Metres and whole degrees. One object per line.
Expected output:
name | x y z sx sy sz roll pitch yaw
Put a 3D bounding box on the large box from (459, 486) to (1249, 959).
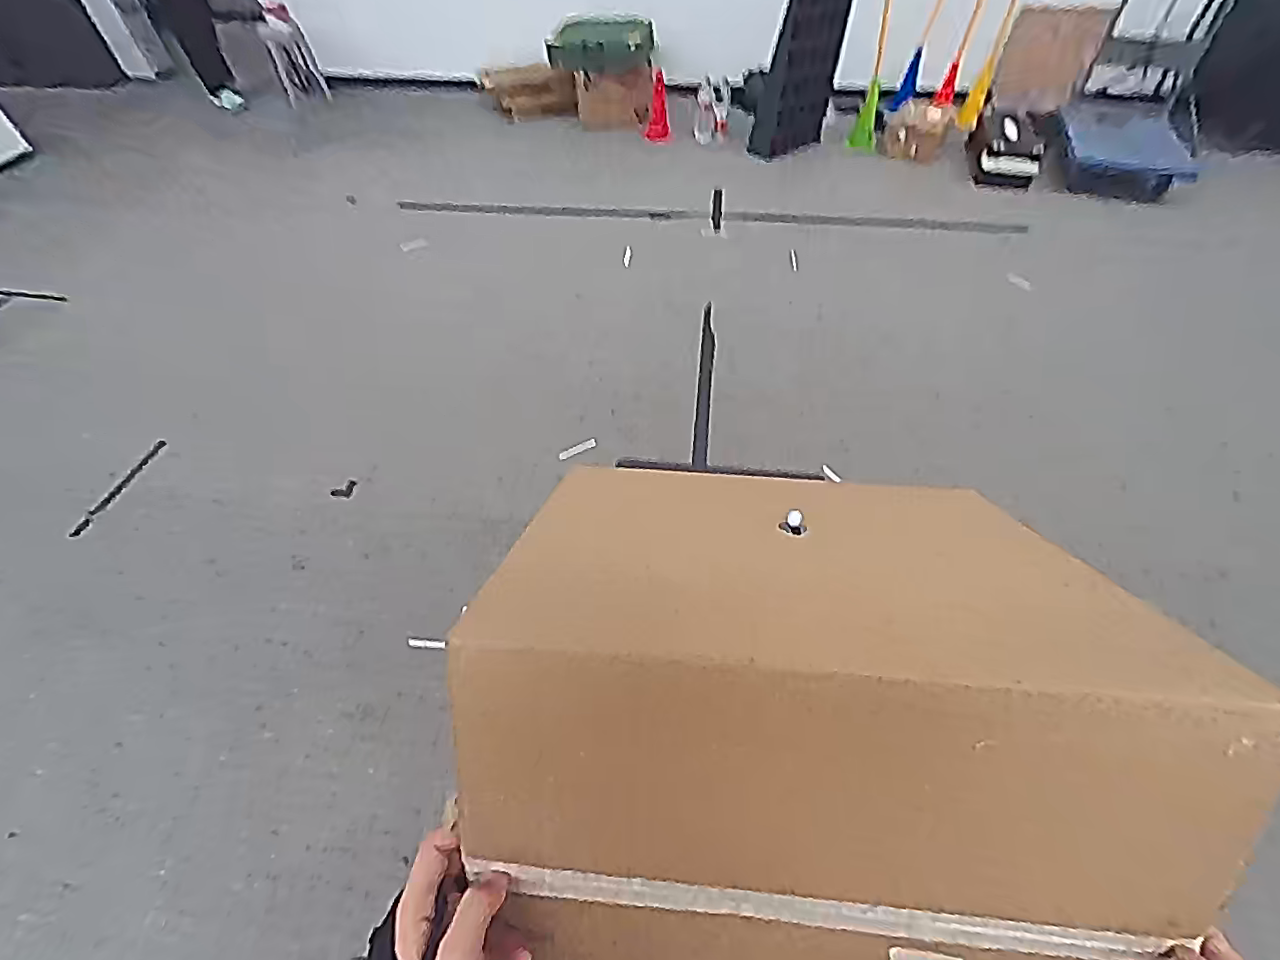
large box | 0.108 0.198 0.462 0.408 0.320 0.320 3 18 4
